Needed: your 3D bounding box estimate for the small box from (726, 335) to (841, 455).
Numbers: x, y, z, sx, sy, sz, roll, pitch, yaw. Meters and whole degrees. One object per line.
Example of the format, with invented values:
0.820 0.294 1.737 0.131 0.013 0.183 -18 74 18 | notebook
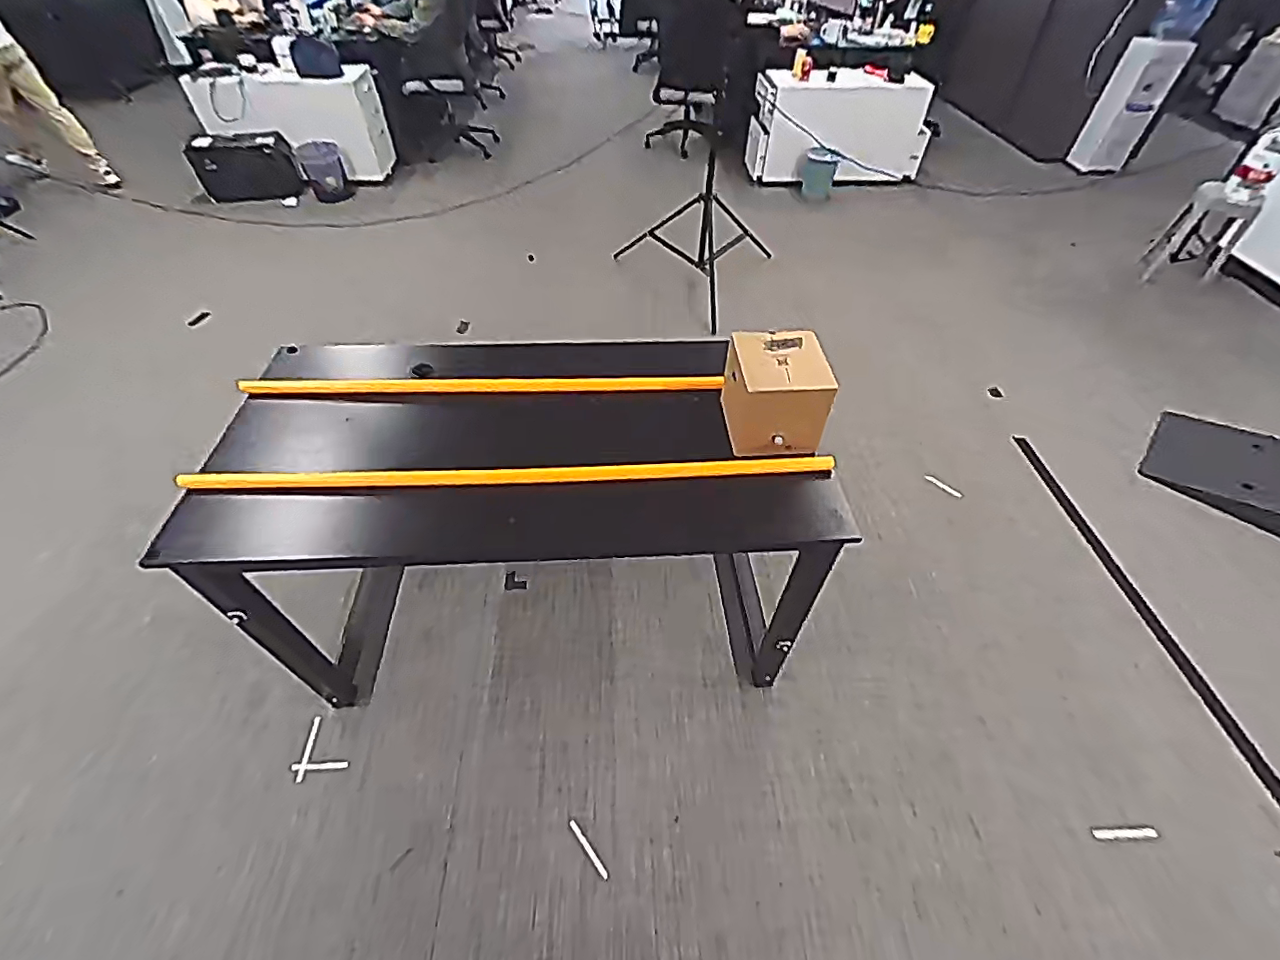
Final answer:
0.270 -0.167 1.068 0.168 0.176 0.179 -2 49 -2 | small box
